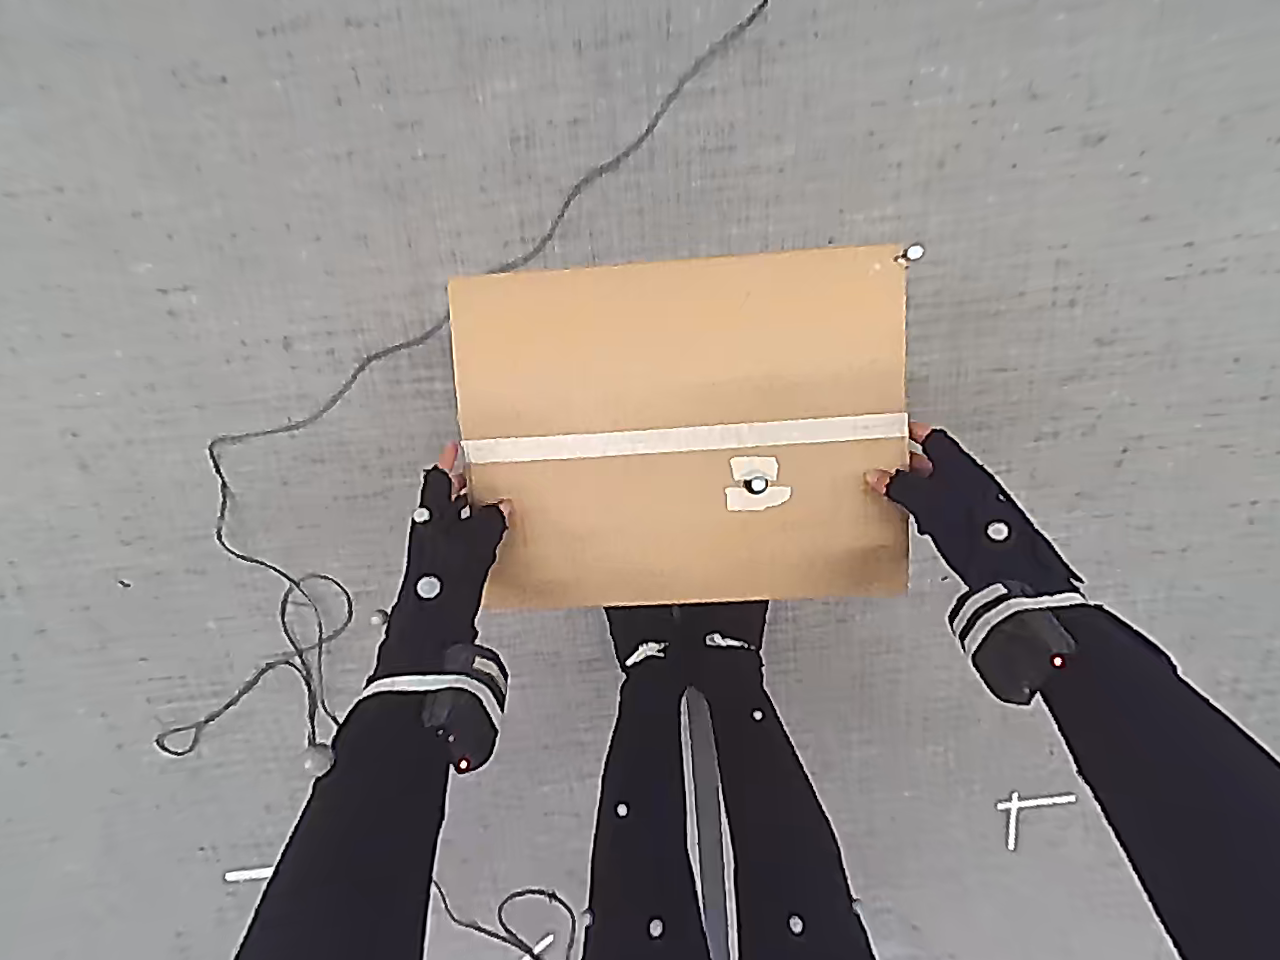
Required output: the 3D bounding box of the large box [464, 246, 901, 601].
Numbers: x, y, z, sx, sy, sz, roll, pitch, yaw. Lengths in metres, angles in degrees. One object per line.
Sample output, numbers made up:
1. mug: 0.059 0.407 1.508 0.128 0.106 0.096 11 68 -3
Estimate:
1. large box: 0.047 -0.061 0.662 0.408 0.320 0.320 -4 97 2
